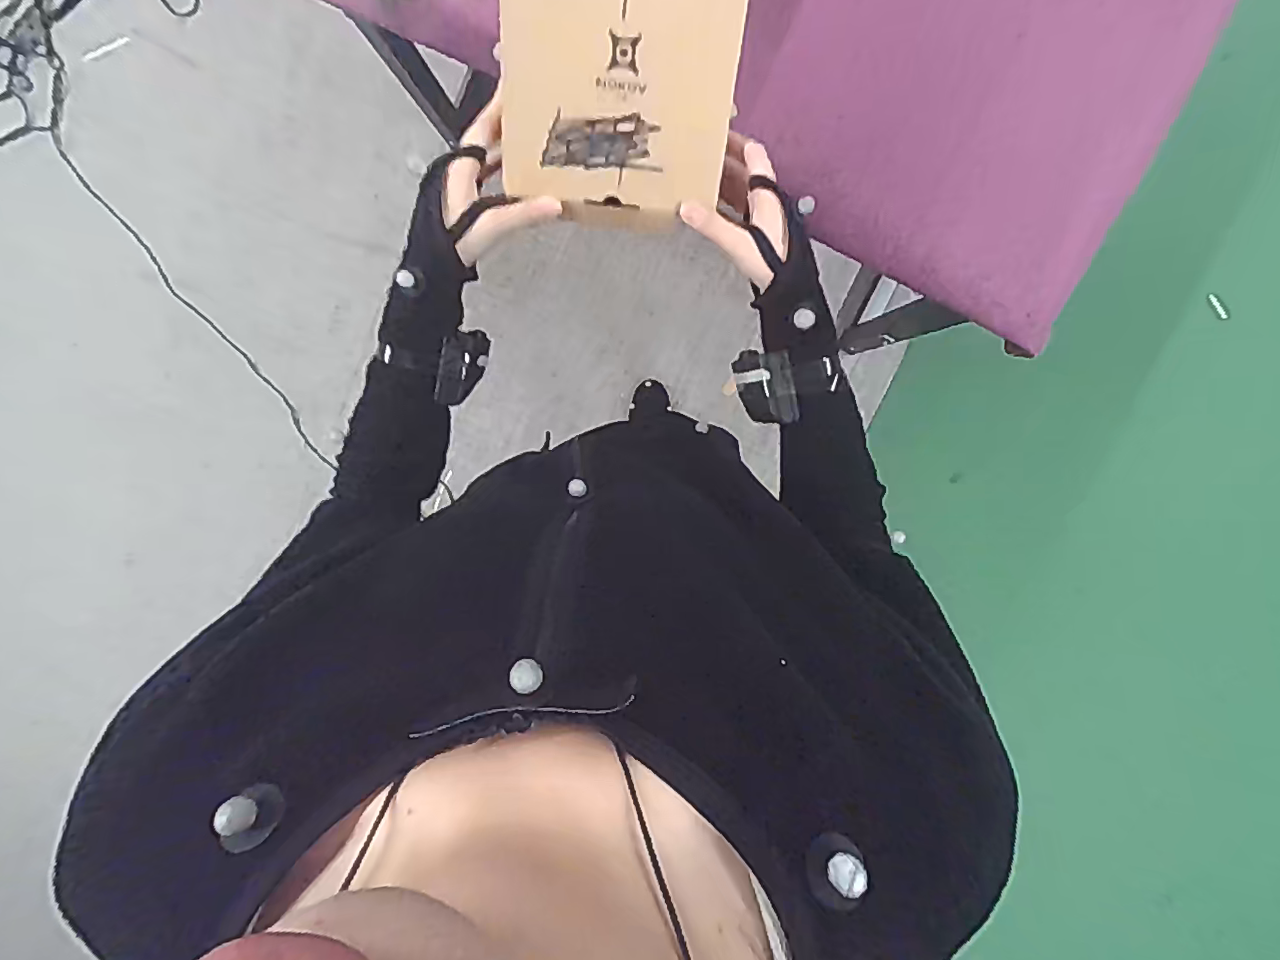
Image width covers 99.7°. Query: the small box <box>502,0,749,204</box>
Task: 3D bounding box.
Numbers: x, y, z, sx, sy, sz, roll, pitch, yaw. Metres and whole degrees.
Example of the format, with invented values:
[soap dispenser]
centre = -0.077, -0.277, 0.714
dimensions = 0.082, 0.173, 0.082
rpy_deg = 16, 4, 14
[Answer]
[small box]
centre = -0.017, -0.337, 0.442
dimensions = 0.168, 0.176, 0.179
rpy_deg = 4, 119, -7
